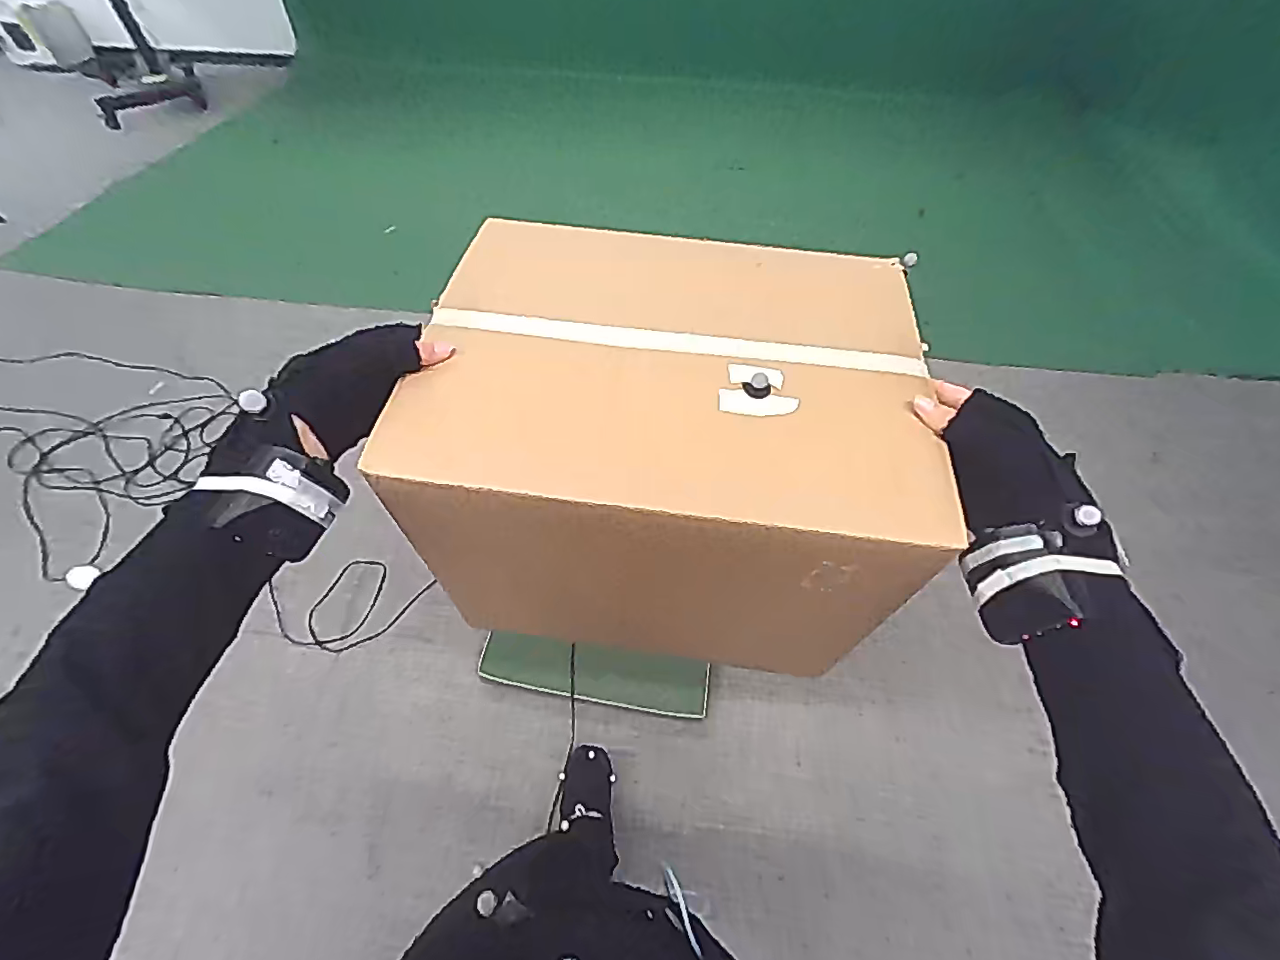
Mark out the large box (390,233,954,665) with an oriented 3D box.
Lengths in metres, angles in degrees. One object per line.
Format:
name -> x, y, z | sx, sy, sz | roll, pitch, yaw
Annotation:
large box -> 0.028, -0.020, 0.579 | 0.408, 0.320, 0.320 | 8, 56, 2
